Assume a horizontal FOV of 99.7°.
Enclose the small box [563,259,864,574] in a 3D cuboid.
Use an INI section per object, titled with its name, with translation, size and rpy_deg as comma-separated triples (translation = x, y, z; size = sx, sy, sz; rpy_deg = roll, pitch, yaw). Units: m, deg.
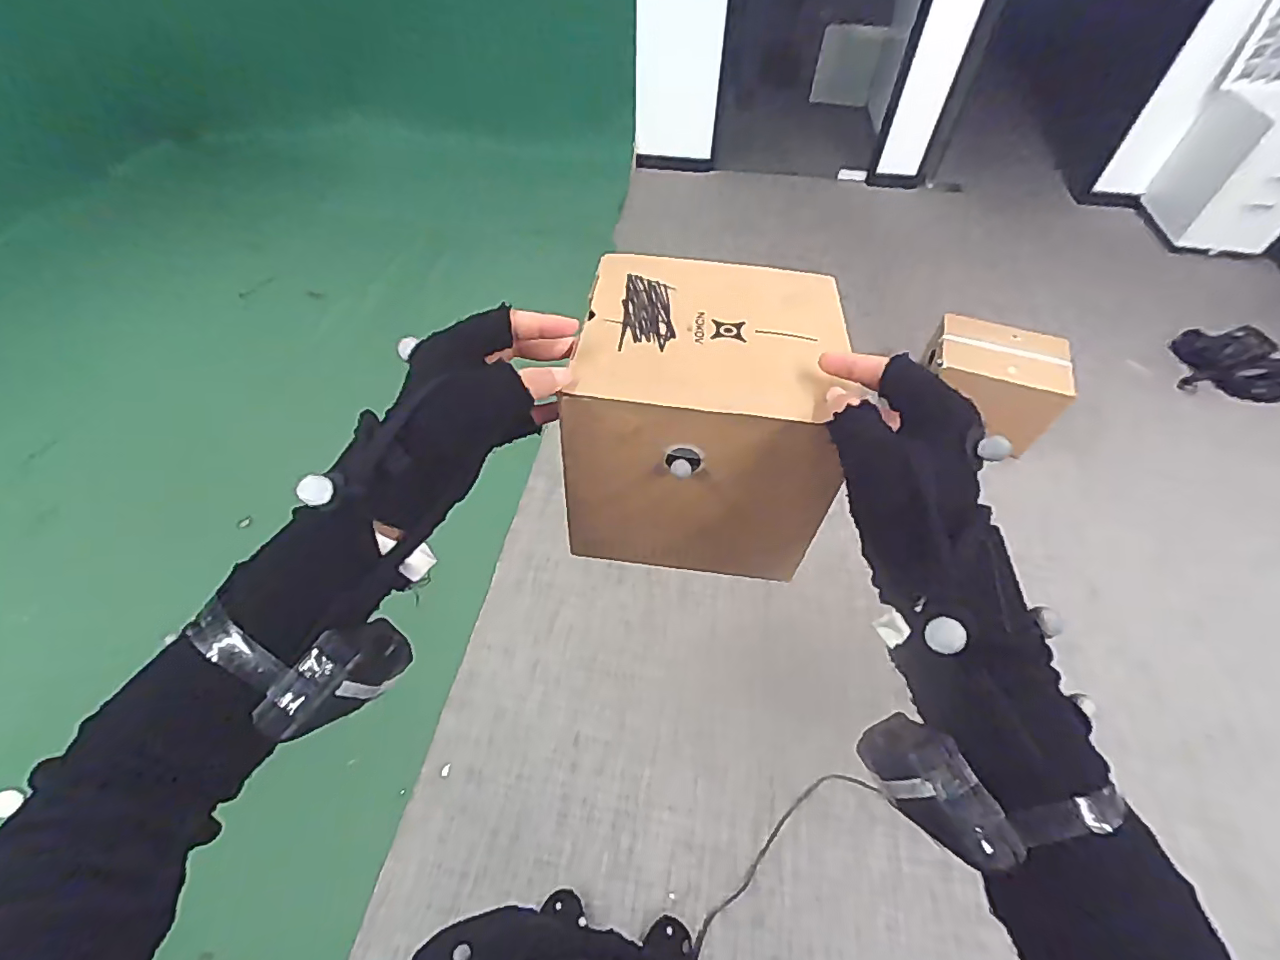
[small box]
translation = 0.046, -0.044, 0.417
size = 0.179, 0.176, 0.168
rpy_deg = 8, 50, 1
